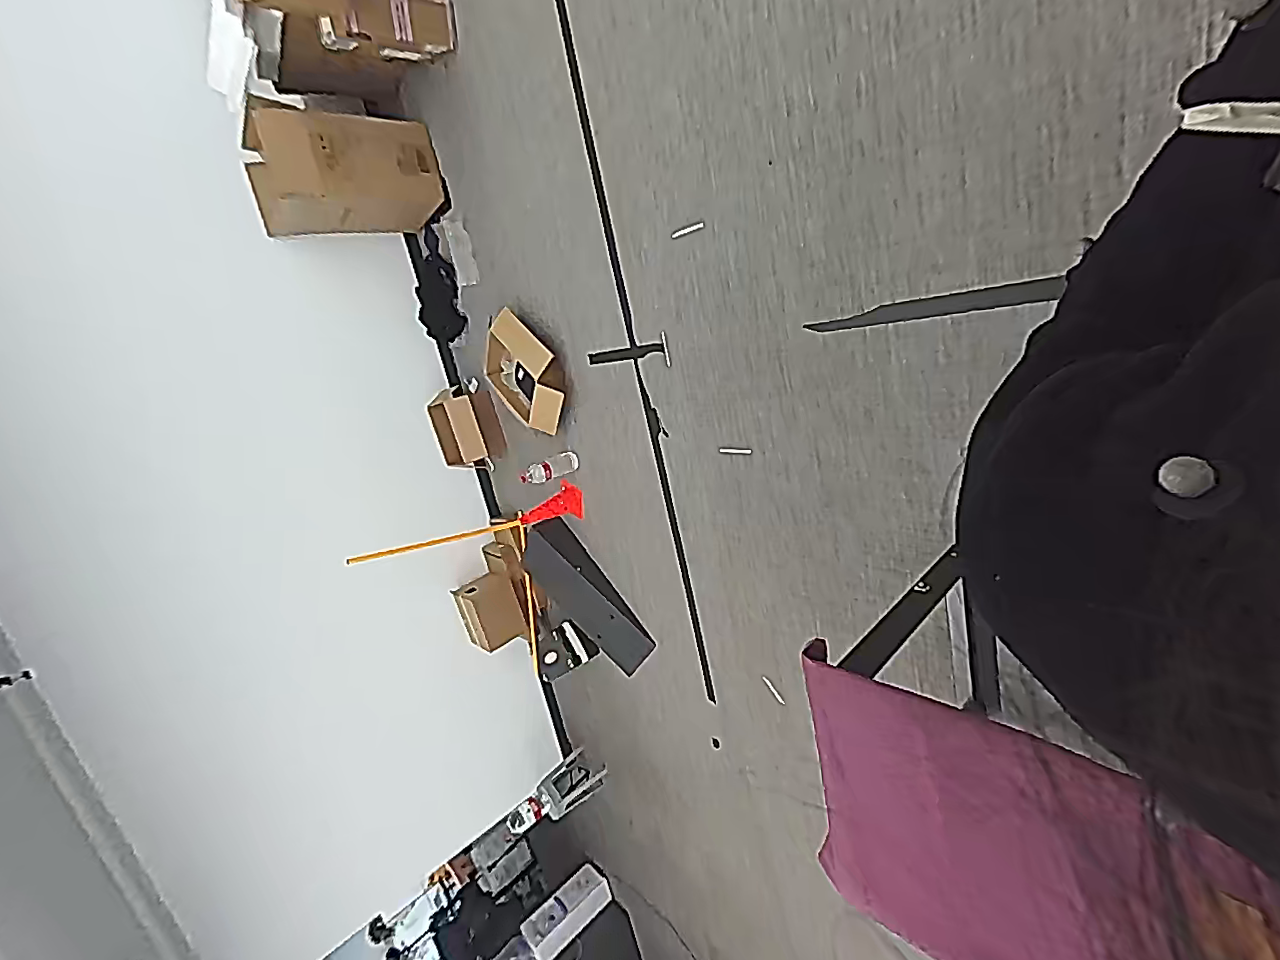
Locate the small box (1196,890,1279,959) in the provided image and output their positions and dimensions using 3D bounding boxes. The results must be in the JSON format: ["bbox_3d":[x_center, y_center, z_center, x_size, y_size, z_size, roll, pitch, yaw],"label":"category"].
[{"bbox_3d":[0.742,0.632,0.609,0.168,0.176,0.179,9,117,48],"label":"small box"}]
